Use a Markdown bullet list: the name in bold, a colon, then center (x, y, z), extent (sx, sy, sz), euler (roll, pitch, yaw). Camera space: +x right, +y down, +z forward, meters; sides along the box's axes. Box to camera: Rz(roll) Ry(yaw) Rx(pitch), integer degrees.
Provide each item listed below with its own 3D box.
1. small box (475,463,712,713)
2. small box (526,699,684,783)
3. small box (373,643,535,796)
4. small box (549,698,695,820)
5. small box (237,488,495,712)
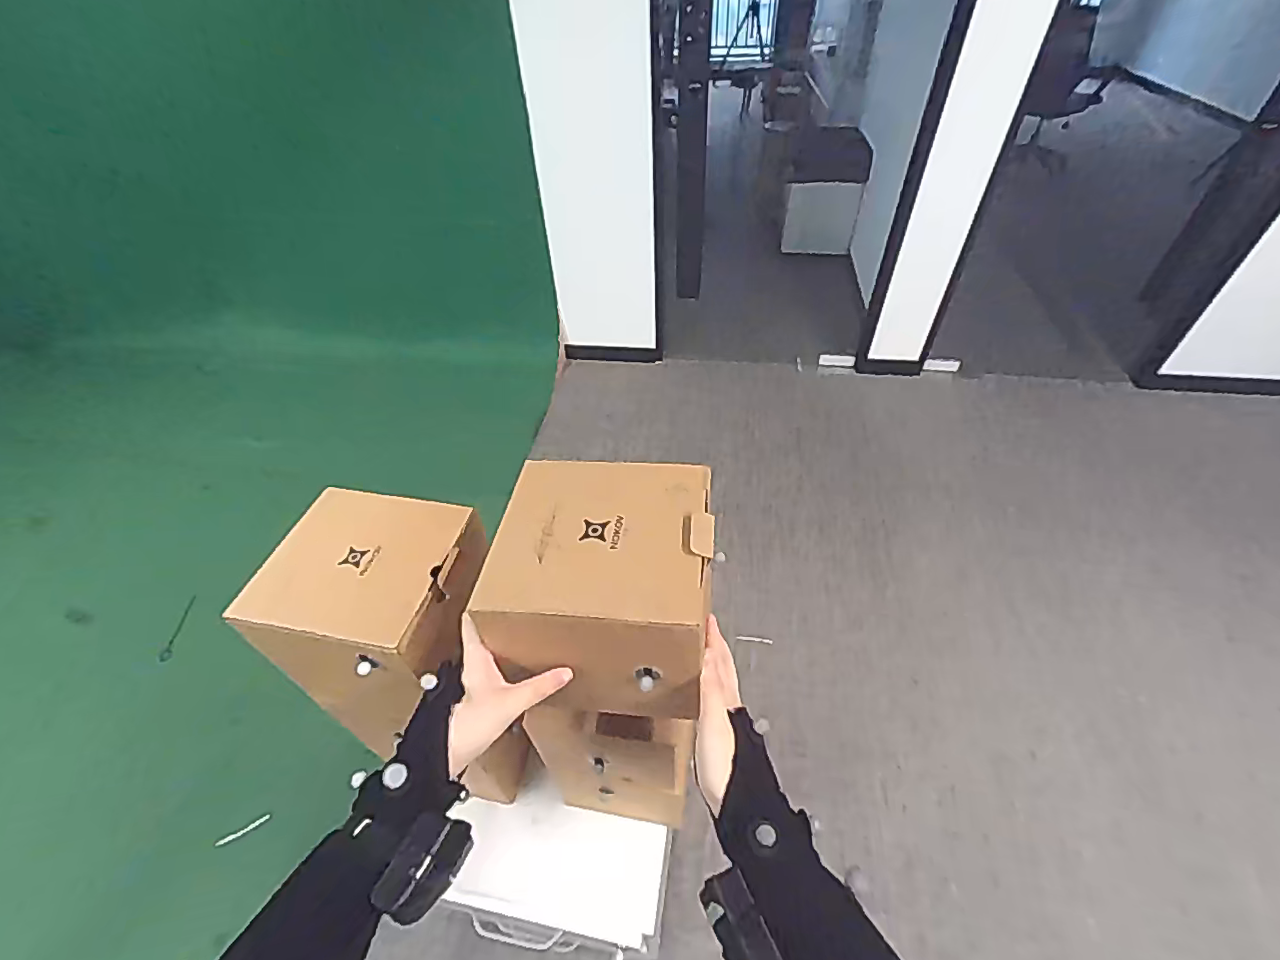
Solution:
- **small box**: center (-0.023, 0.102, 0.508), extent (0.179, 0.176, 0.168), euler (1, 44, 9)
- **small box**: center (-0.027, 0.260, 0.683), extent (0.168, 0.176, 0.179), euler (5, 46, 8)
- **small box**: center (-0.261, 0.360, 0.825), extent (0.179, 0.176, 0.168), euler (8, 47, 7)
- **small box**: center (-0.016, 0.378, 0.797), extent (0.179, 0.176, 0.168), euler (7, 47, 9)
- **small box**: center (-0.267, 0.132, 0.590), extent (0.179, 0.176, 0.168), euler (7, 46, 8)
